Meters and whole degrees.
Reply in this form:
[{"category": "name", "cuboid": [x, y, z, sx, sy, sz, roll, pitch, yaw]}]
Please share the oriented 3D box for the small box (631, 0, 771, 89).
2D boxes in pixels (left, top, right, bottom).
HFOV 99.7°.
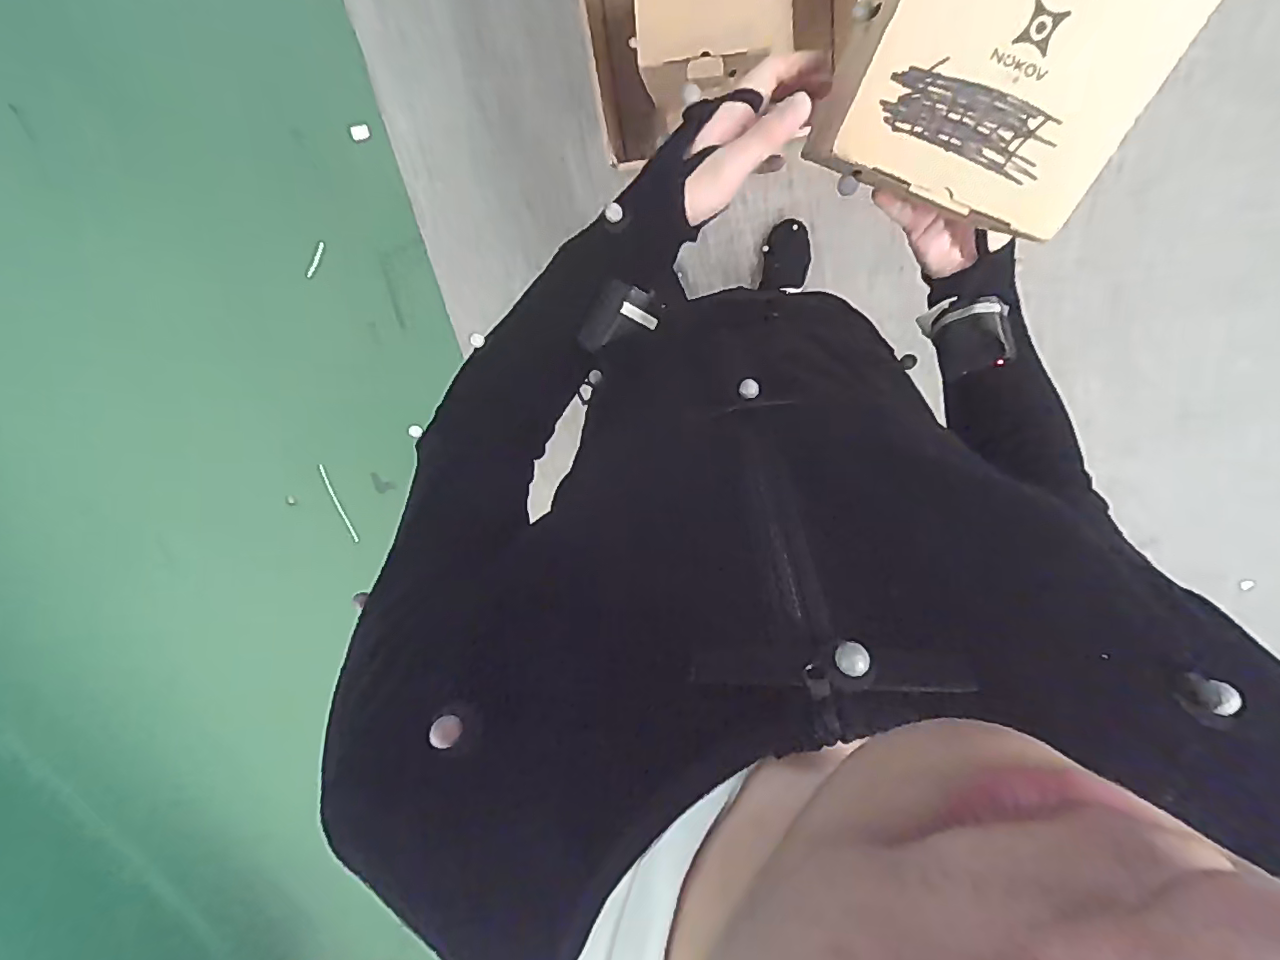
[{"category": "small box", "cuboid": [0.078, -0.621, 0.689, 0.168, 0.176, 0.179, -1, 114, 7]}]
